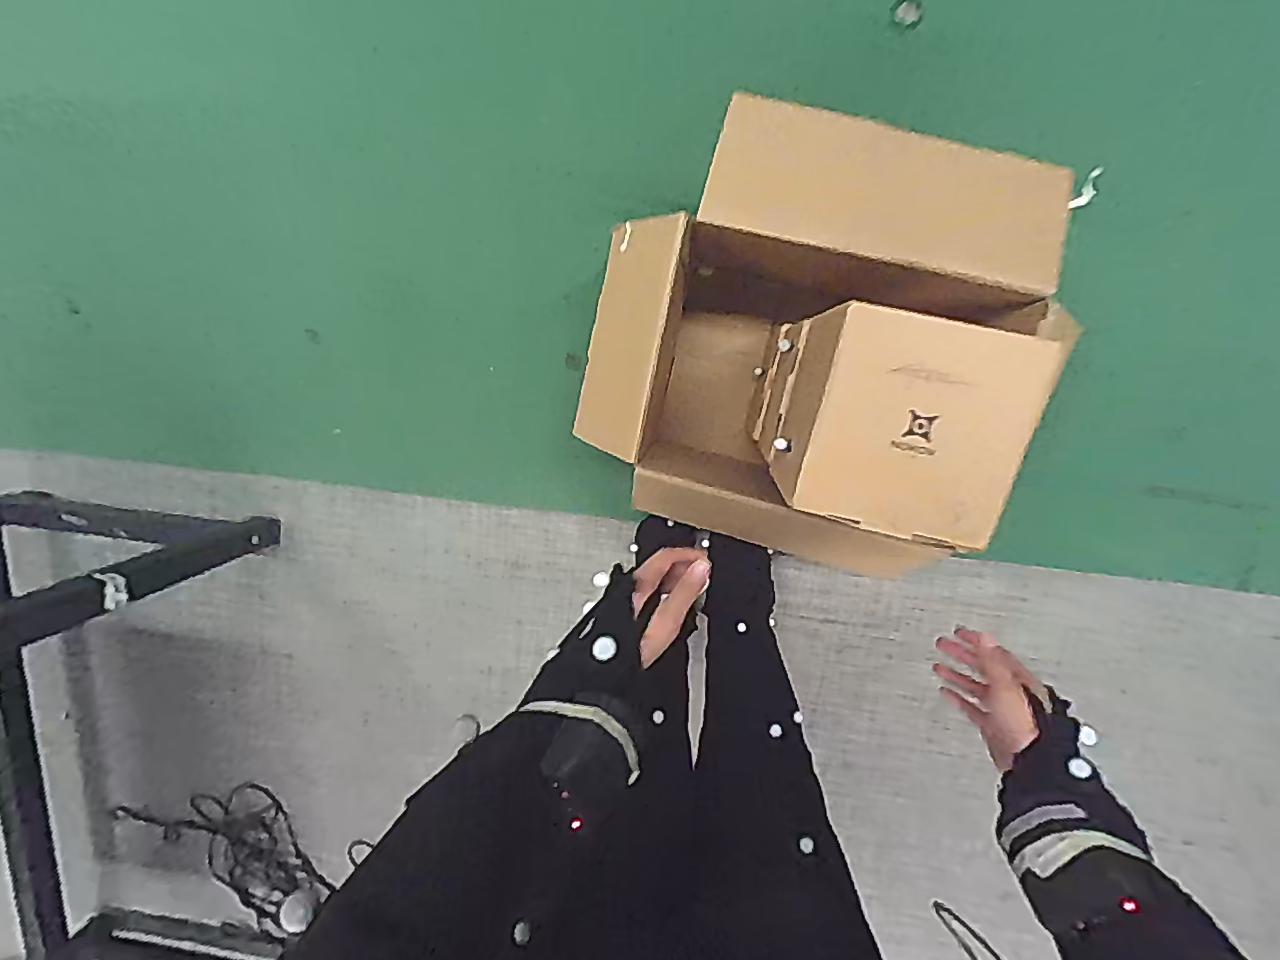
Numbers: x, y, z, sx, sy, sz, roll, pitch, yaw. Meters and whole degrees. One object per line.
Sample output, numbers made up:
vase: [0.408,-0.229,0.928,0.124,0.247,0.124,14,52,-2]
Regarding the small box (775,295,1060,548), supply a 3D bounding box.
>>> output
small box: [0.231,-0.059,0.509,0.168,0.176,0.179,13,102,4]
